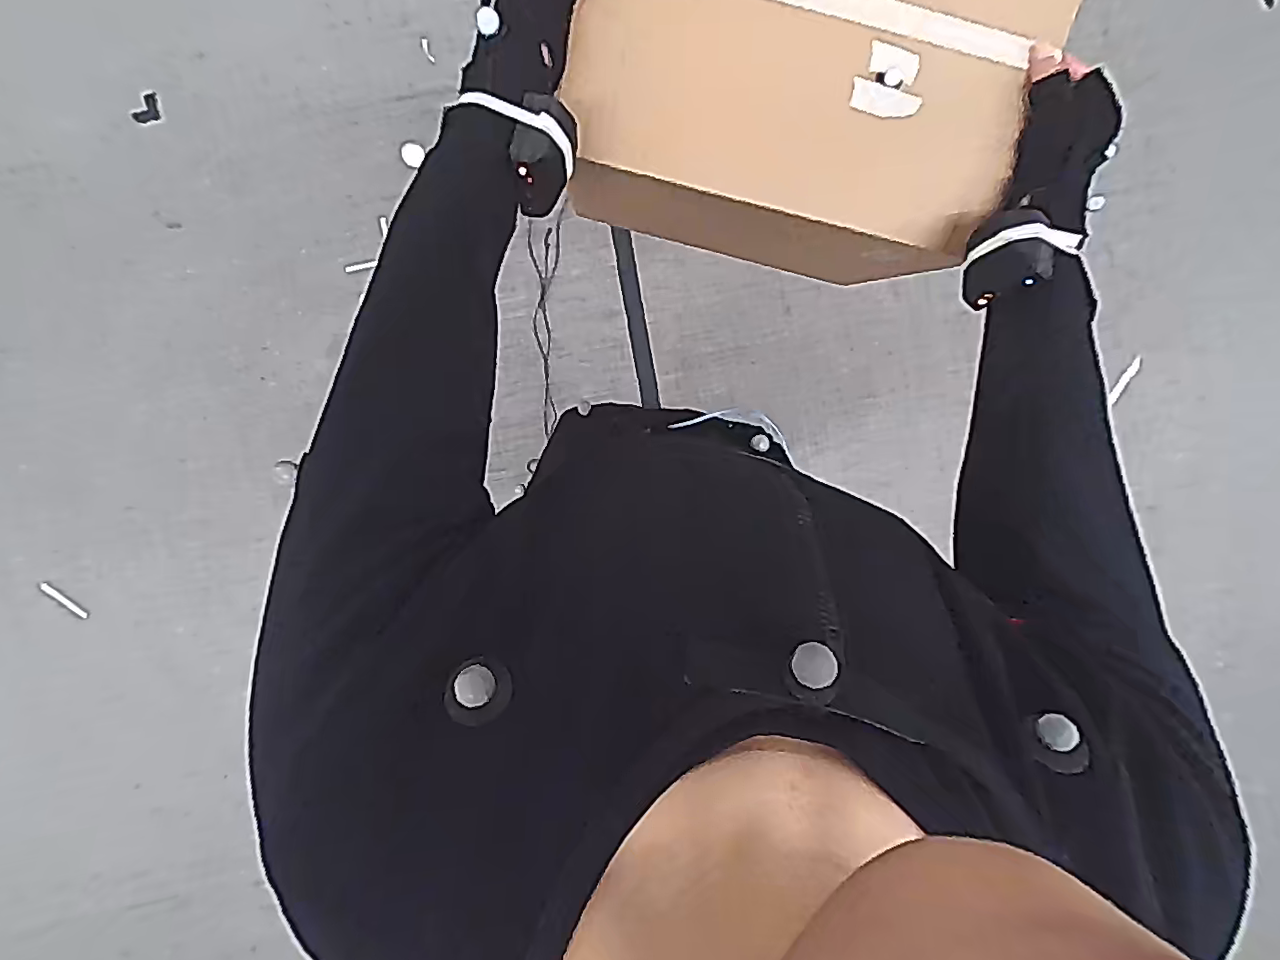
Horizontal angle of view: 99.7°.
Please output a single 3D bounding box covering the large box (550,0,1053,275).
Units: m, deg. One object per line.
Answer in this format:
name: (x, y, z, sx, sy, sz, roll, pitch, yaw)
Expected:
large box: (0.134, -0.434, 0.591, 0.408, 0.320, 0.320, 11, 106, -6)
